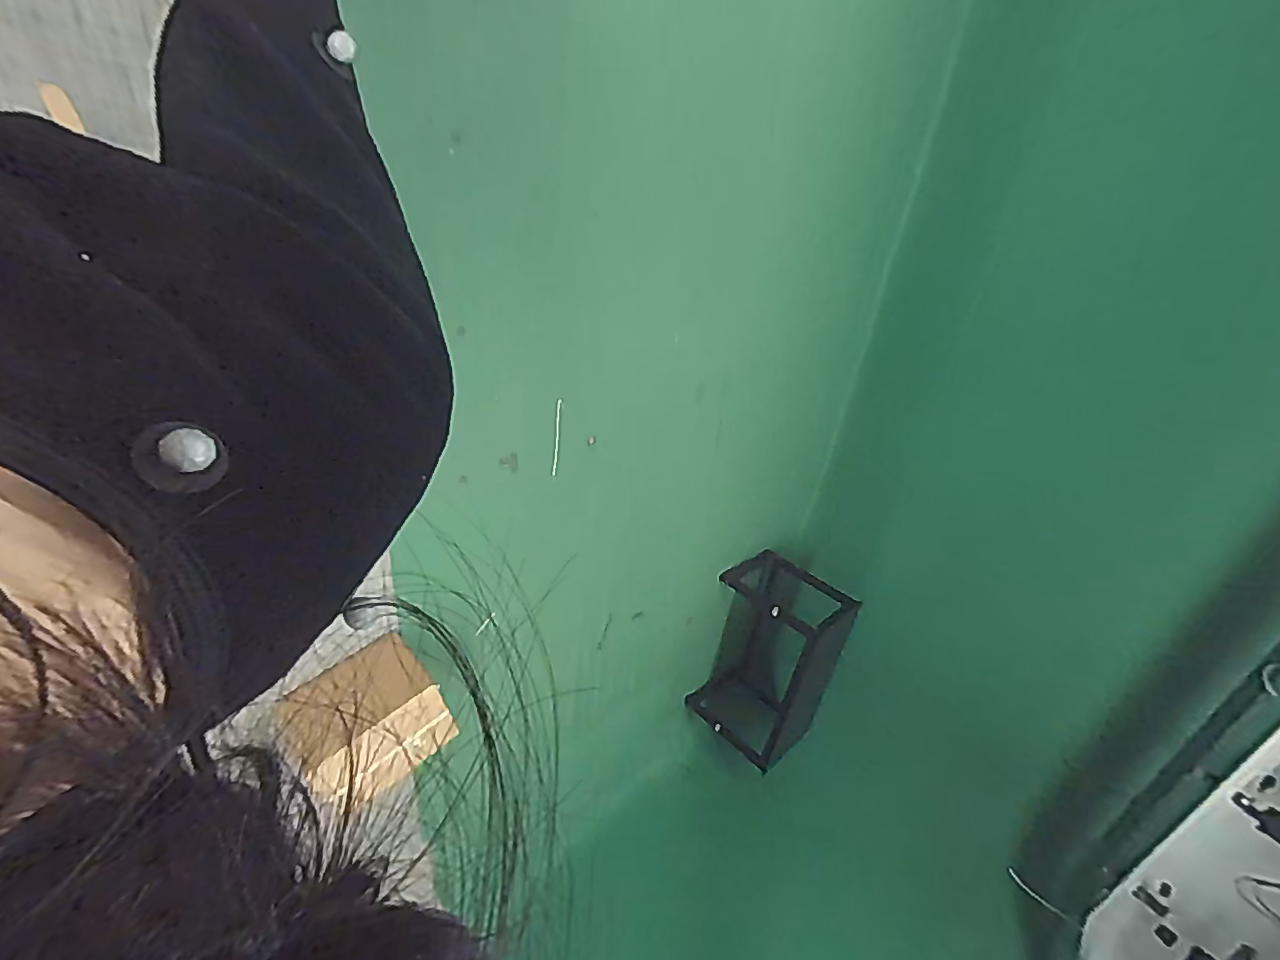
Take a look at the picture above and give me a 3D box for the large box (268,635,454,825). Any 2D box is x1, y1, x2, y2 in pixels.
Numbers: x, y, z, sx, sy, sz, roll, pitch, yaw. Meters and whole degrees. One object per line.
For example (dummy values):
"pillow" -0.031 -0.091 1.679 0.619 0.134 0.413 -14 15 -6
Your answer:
"large box" -0.904 0.805 1.781 0.408 0.320 0.320 -33 136 -33
